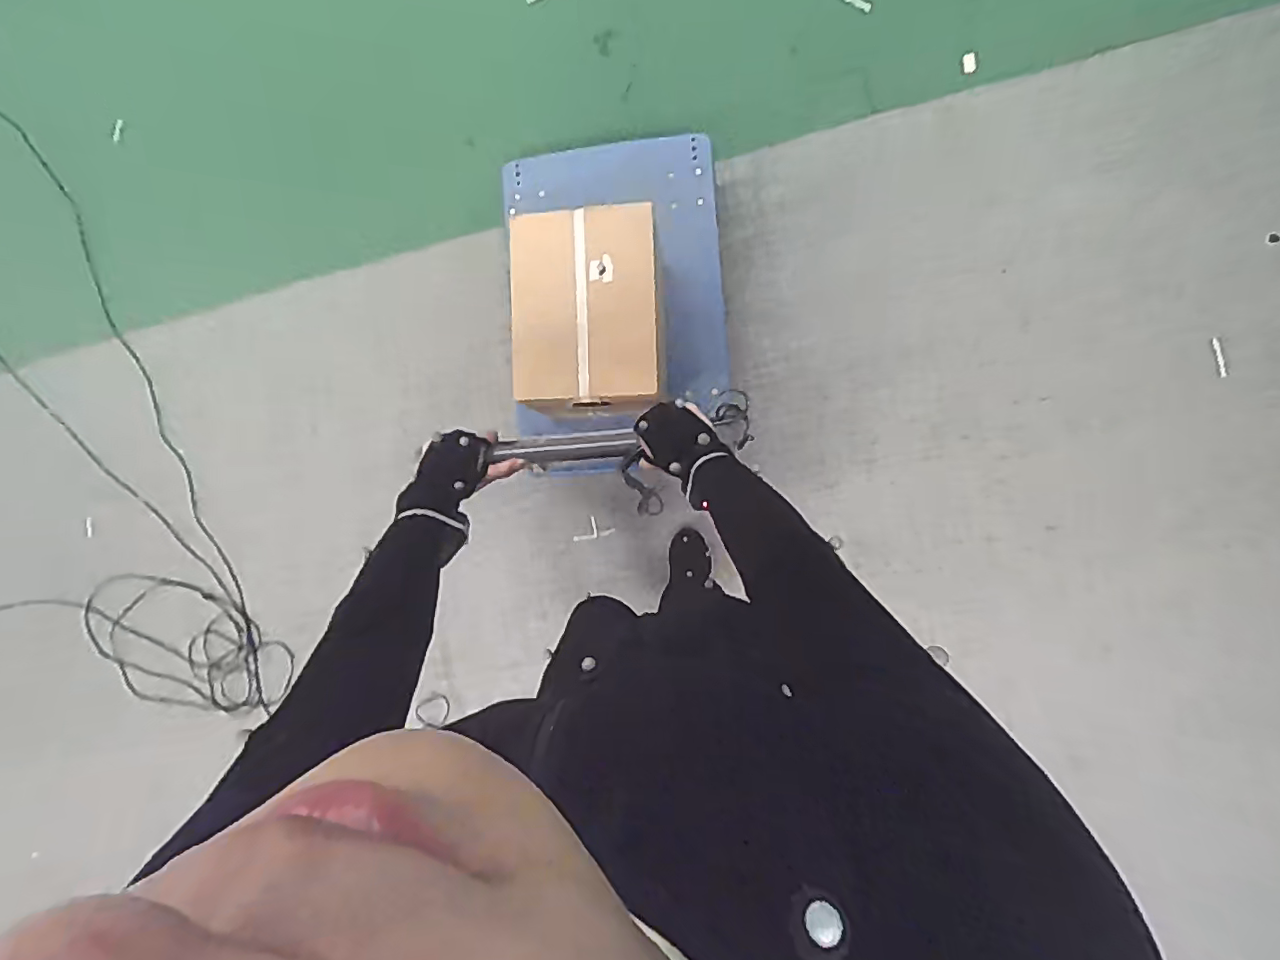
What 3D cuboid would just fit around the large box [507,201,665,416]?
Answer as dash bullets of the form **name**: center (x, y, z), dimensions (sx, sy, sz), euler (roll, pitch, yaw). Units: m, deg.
- **large box**: center (-0.111, -0.379, 1.295), dimensions (0.320, 0.320, 0.408), euler (-2, 89, 6)
